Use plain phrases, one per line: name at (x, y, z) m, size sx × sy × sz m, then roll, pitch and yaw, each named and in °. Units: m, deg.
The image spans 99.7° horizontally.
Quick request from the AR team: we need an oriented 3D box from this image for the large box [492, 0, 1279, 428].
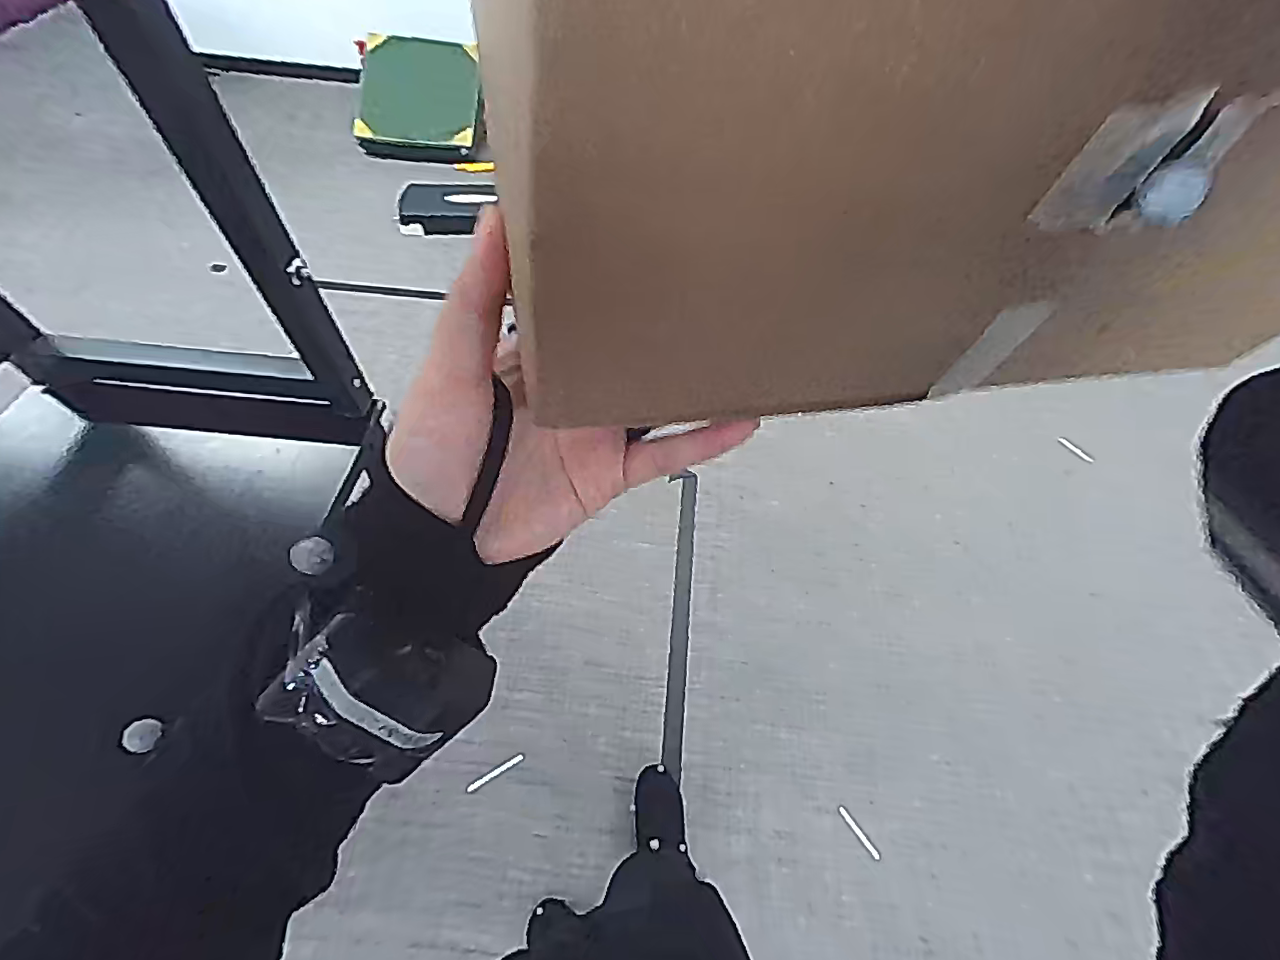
large box at (0.104, -0.273, 0.171) m, size 0.320 × 0.320 × 0.408 m, roll -5°, pitch 62°, yaw -14°
